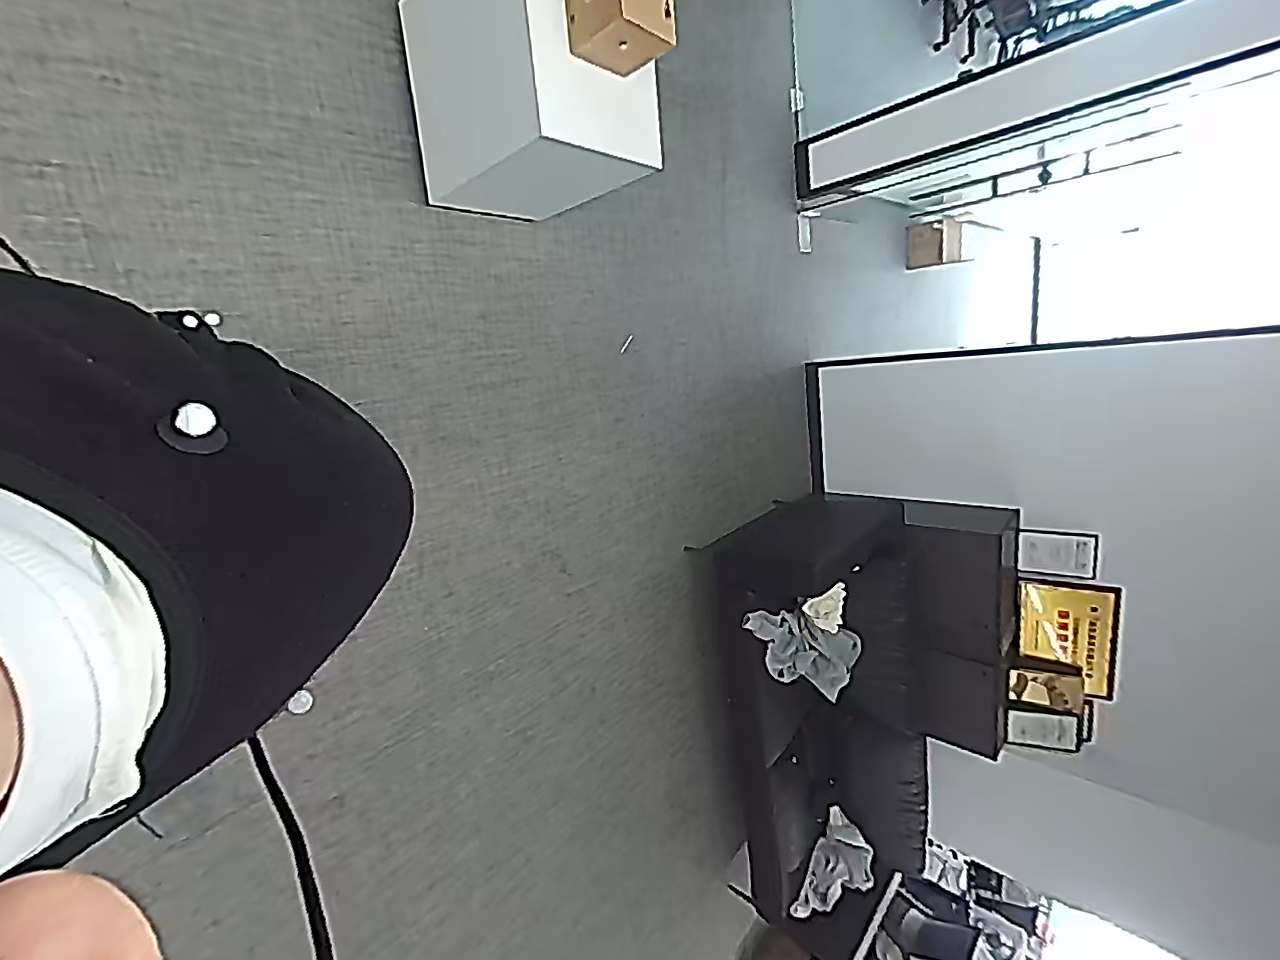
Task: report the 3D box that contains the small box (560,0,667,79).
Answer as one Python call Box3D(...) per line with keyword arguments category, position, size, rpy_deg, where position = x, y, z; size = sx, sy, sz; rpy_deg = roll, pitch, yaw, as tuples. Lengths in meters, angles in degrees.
Box3D(category="small box", position=(-0.065, -1.036, 1.206), size=(0.179, 0.176, 0.168), rpy_deg=(-20, 108, -44))
